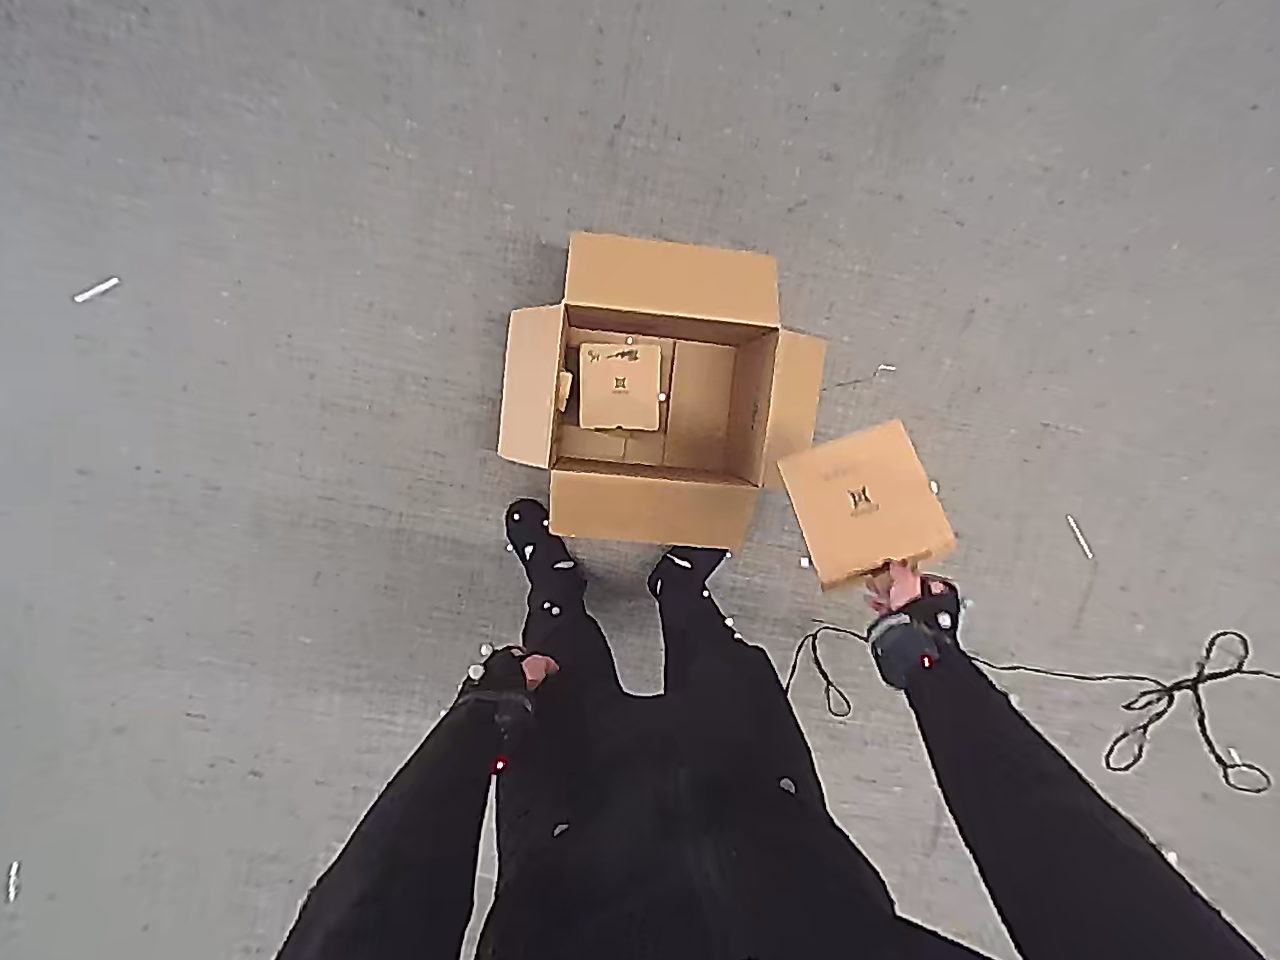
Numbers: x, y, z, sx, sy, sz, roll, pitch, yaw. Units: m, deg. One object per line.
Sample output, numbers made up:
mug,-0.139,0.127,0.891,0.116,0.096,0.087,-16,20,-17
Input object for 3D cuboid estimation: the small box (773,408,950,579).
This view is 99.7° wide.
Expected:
small box,0.300,0.032,0.755,0.168,0.176,0.179,-20,67,13
